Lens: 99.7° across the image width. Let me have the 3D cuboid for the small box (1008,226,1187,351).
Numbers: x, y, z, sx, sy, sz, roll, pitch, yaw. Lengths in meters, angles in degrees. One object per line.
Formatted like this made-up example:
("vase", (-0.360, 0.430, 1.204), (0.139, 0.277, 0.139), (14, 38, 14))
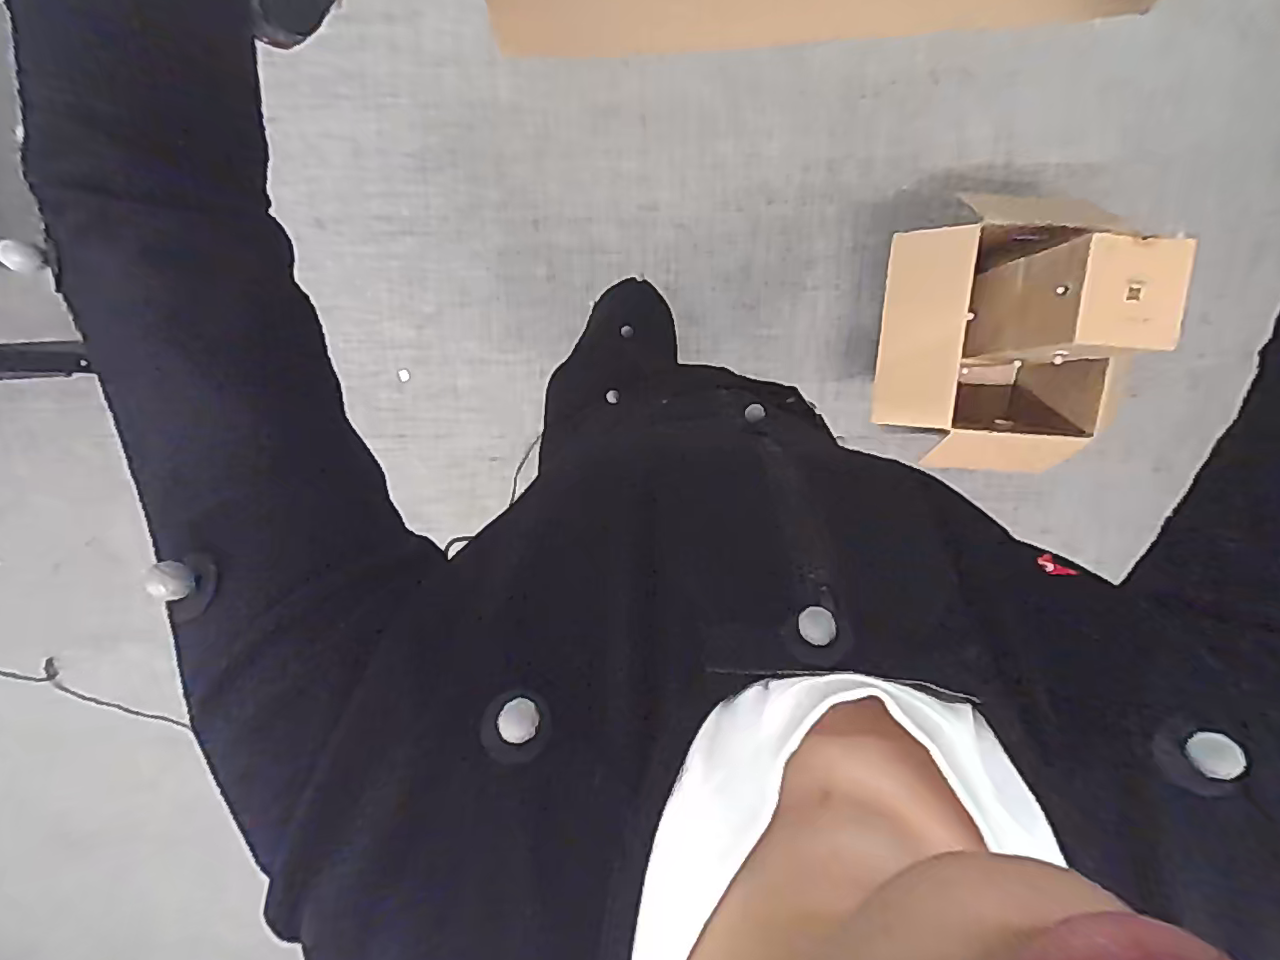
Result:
("small box", (0.792, -0.329, 0.956), (0.168, 0.176, 0.179), (3, 99, 1))
